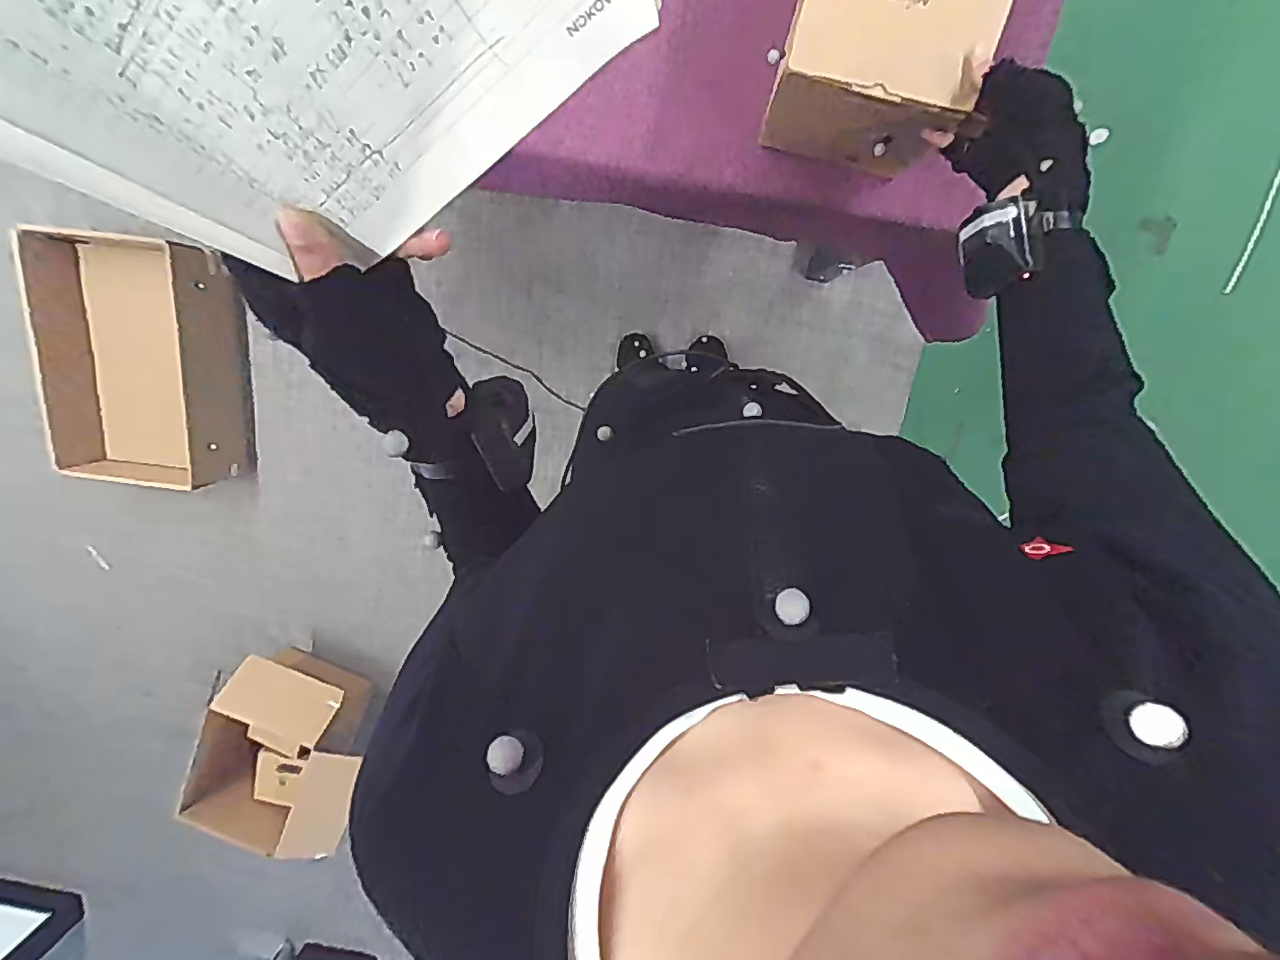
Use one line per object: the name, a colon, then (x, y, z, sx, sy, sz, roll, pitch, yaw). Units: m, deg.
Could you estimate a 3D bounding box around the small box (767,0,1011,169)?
small box: (0.230, -0.429, 0.519, 0.168, 0.176, 0.179, 15, 104, 0)
